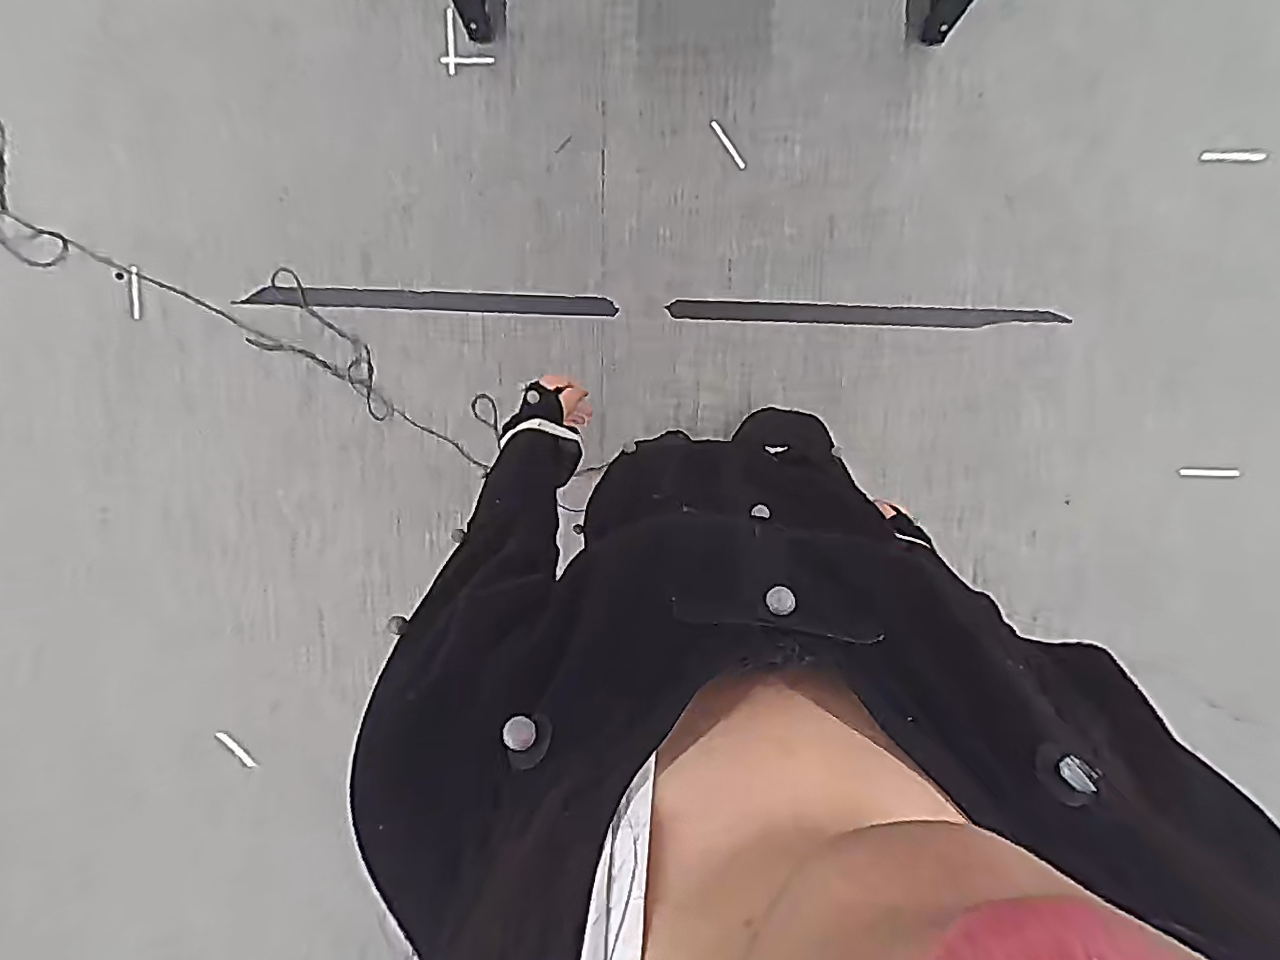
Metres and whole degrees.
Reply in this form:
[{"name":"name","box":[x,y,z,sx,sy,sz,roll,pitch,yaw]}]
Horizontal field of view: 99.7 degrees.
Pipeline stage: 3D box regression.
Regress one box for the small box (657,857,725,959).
[{"name":"small box","box":[0.140,1.198,1.515,0.168,0.176,0.179,-8,96,1]}]
